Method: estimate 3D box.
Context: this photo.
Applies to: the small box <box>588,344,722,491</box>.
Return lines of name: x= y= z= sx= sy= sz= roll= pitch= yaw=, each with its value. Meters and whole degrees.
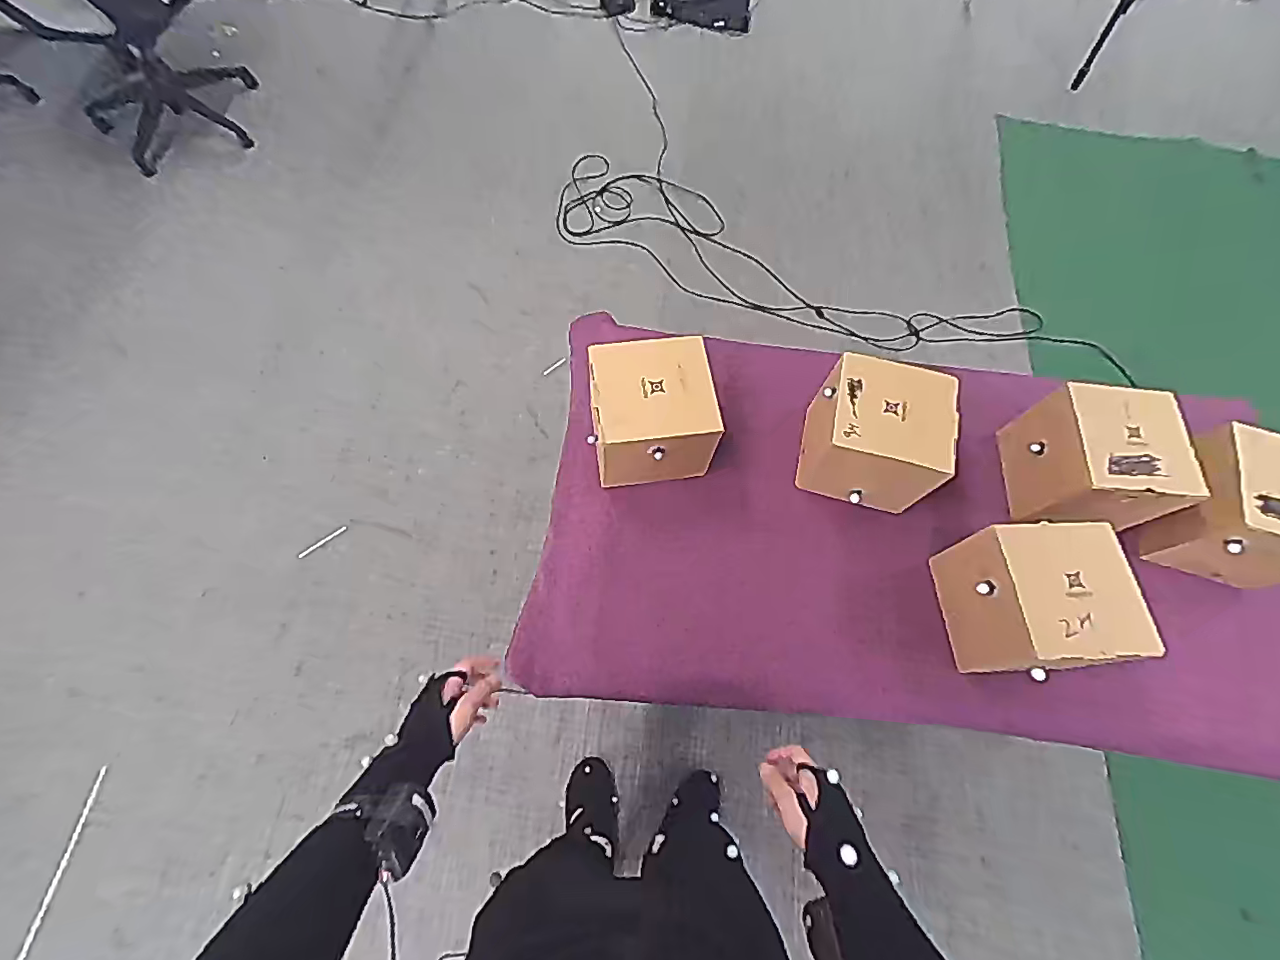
small box: x=0.017 y=-0.091 z=0.852 sx=0.179 sy=0.176 sz=0.168 roll=-6 pitch=68 yaw=-6

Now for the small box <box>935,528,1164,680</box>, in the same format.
small box: x=0.547 y=0.178 z=0.757 sx=0.168 sy=0.176 sz=0.179 roll=-1 pitch=65 yaw=-2

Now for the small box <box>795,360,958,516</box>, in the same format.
small box: x=0.365 y=-0.057 z=0.853 sx=0.179 sy=0.176 sz=0.168 roll=15 pitch=66 yaw=3
